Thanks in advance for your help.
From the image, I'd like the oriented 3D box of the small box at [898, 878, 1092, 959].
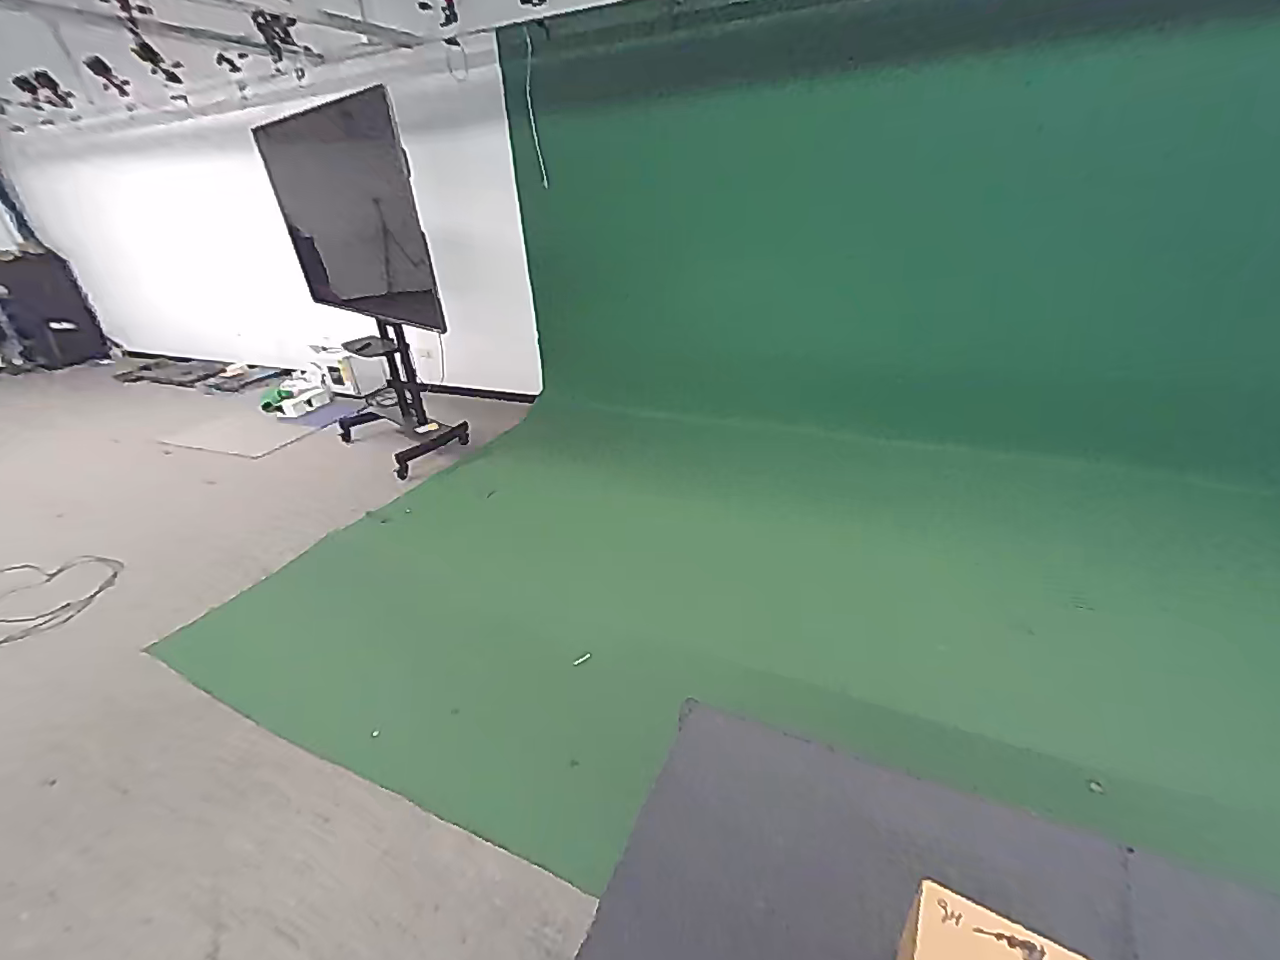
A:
[{"bbox_3d":[0.363,0.588,0.569,0.168,0.176,0.179,10,30,27],"label":"small box"}]
